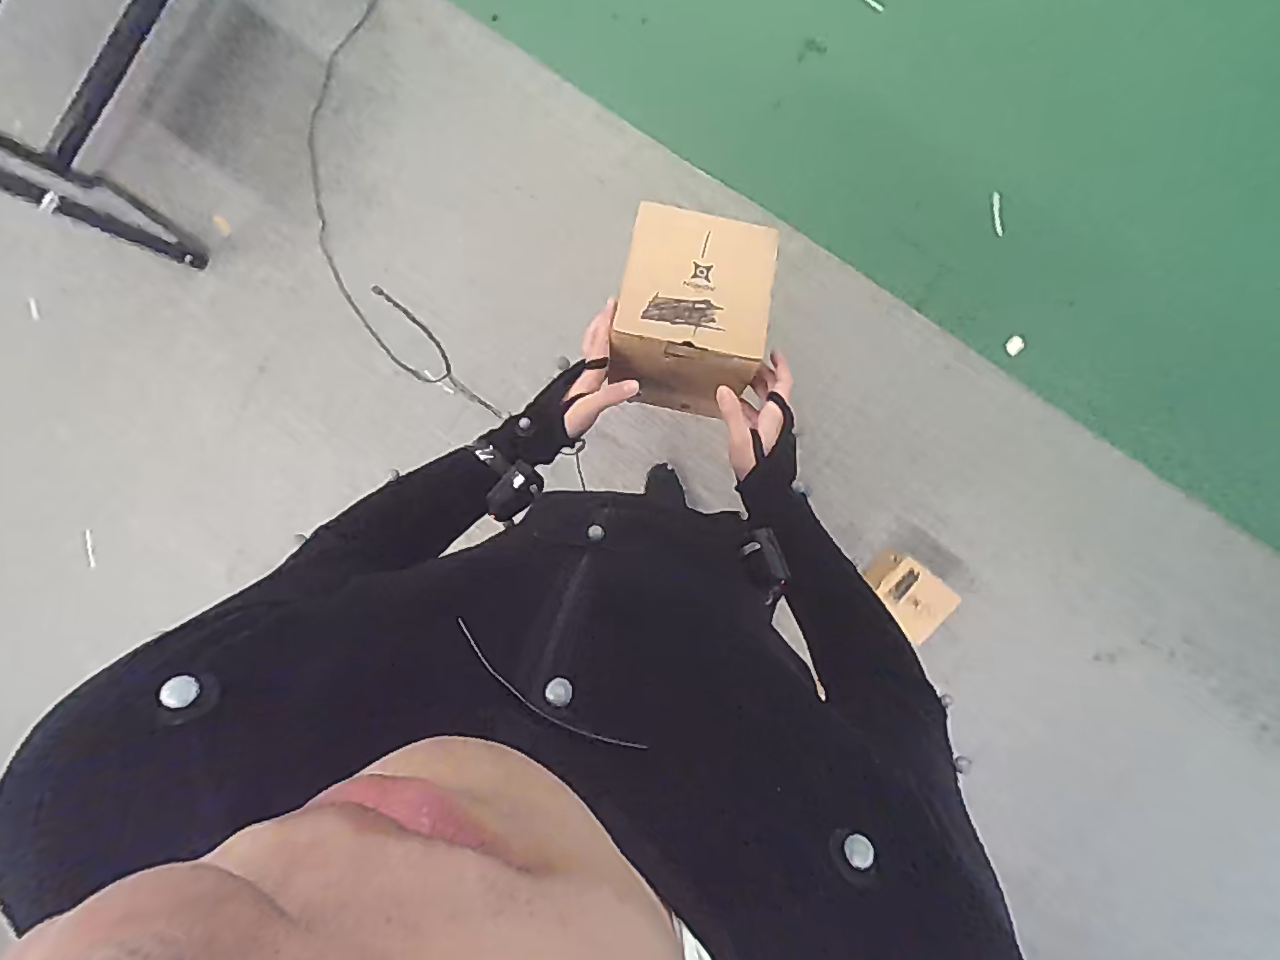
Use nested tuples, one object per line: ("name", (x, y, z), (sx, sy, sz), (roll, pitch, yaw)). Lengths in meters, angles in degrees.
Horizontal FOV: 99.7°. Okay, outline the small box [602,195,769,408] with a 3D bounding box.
("small box", (0.049, -0.208, 0.672), (0.168, 0.176, 0.179), (11, 72, -2))
